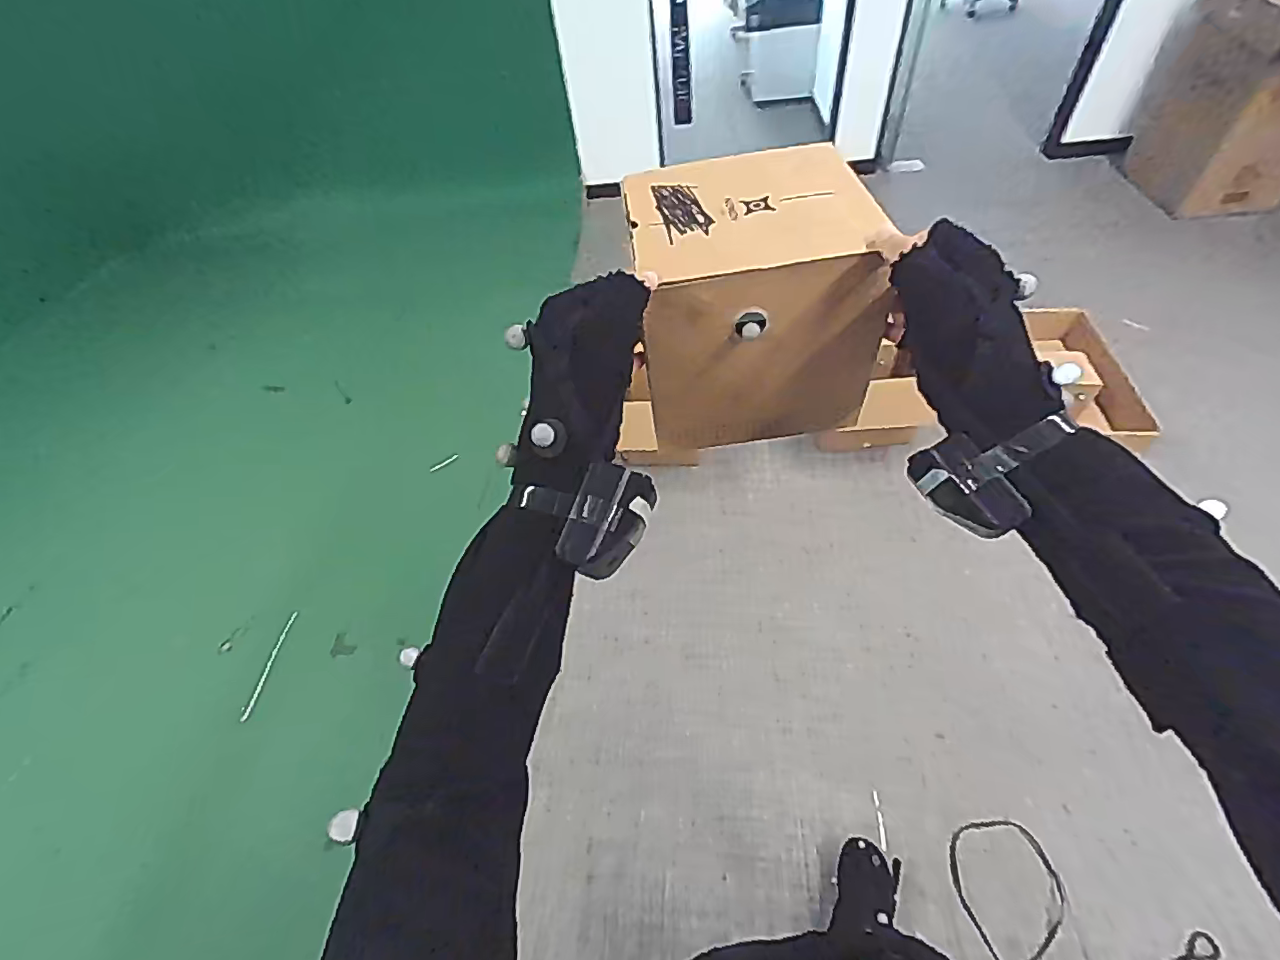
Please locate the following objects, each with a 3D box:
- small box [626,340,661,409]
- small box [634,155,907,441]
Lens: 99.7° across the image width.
[{"bbox_3d":[0.058,-0.358,1.842,0.179,0.176,0.168,3,51,9],"label":"small box"},{"bbox_3d":[0.095,-0.149,0.469,0.179,0.176,0.168,-7,51,2],"label":"small box"}]
